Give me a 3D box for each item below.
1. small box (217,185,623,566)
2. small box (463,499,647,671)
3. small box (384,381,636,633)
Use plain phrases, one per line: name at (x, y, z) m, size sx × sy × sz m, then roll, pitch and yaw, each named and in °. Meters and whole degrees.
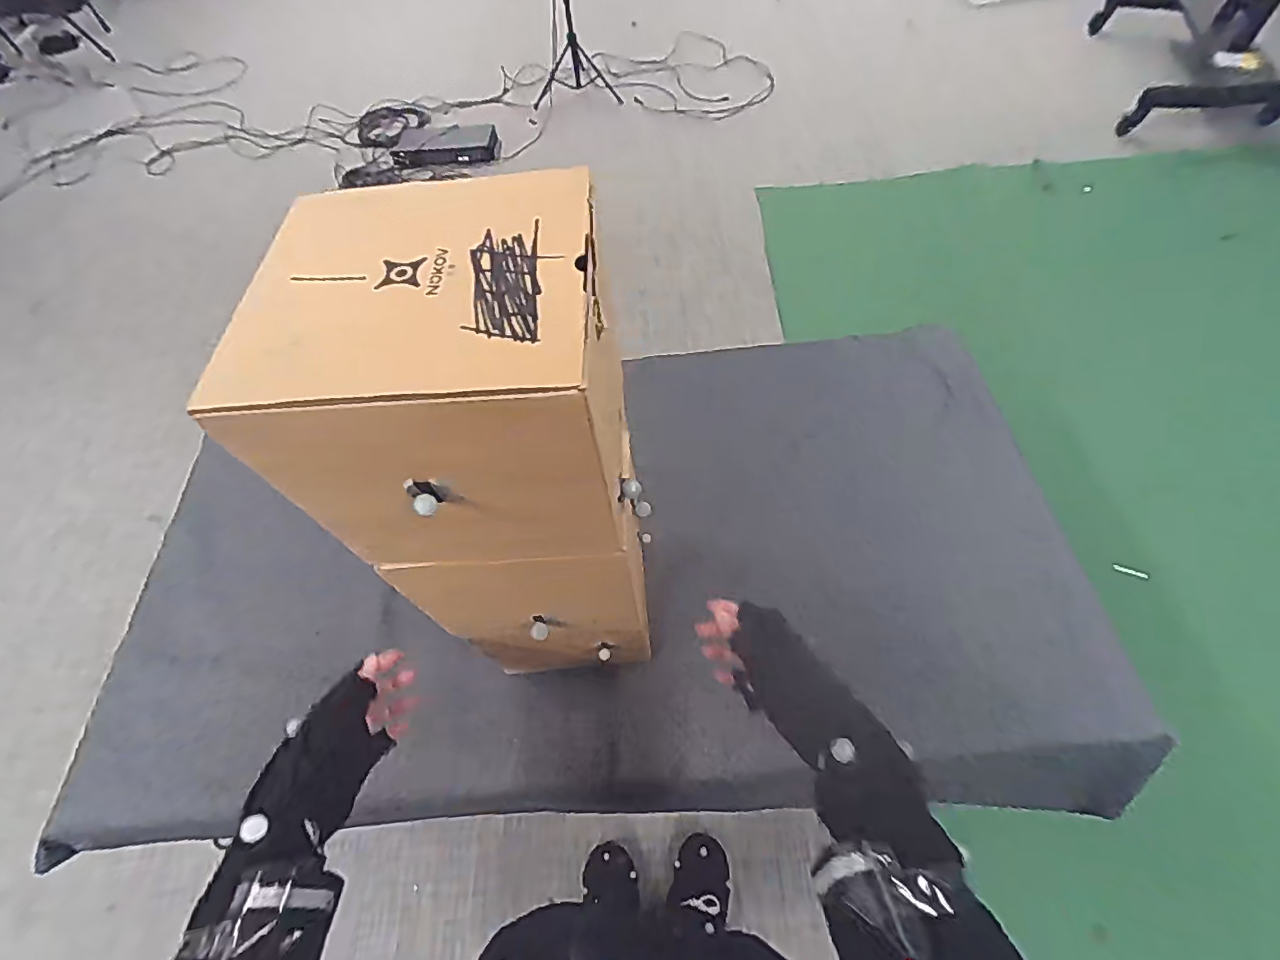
small box at (-0.103, -0.056, 0.345) m, size 0.179 × 0.176 × 0.168 m, roll -5°, pitch 58°, yaw -1°
small box at (-0.085, 0.113, 0.626) m, size 0.179 × 0.176 × 0.168 m, roll -7°, pitch 58°, yaw 2°
small box at (-0.094, 0.031, 0.485) m, size 0.179 × 0.176 × 0.168 m, roll -4°, pitch 58°, yaw 1°
